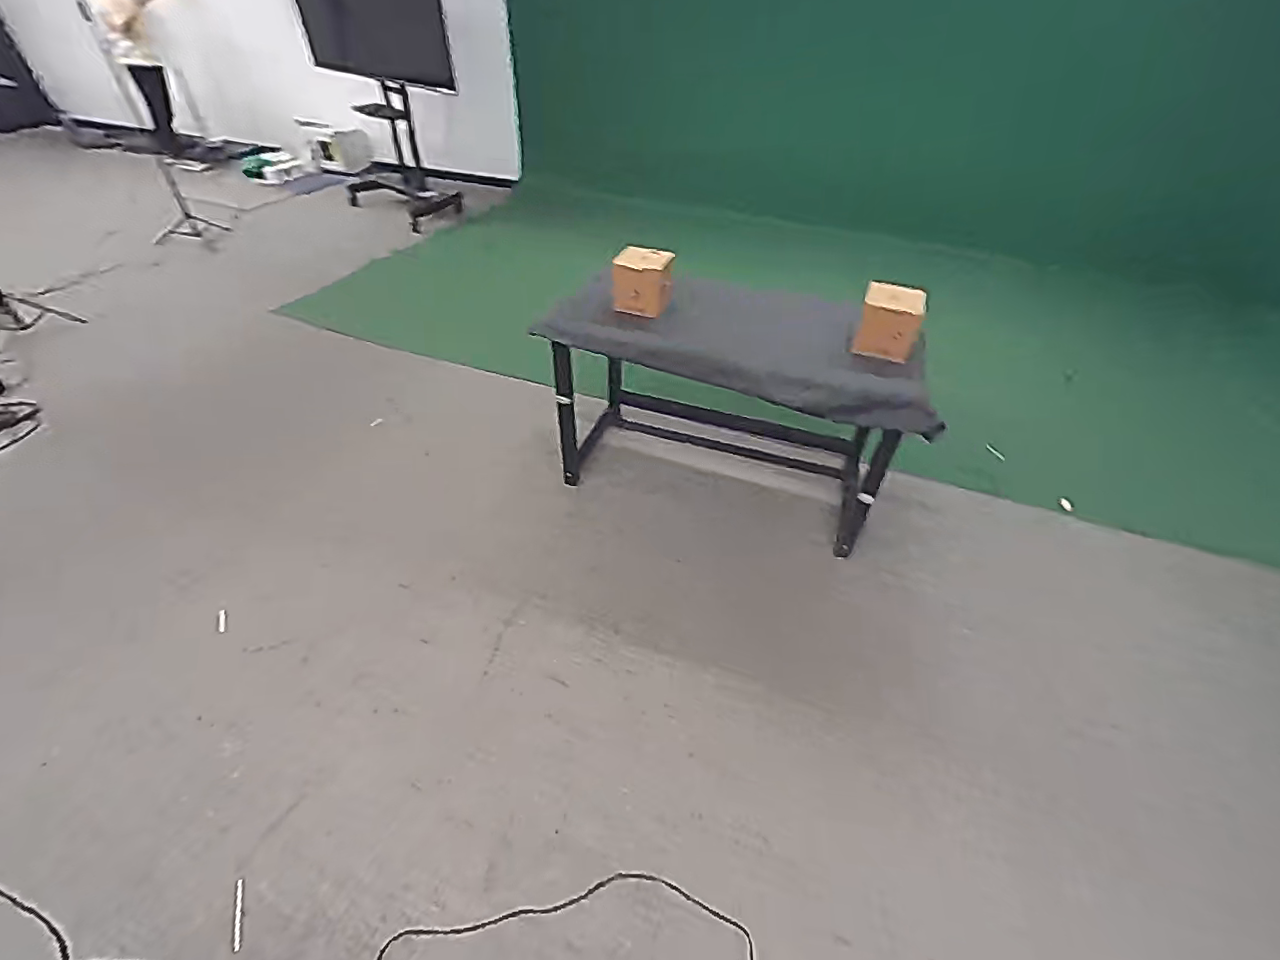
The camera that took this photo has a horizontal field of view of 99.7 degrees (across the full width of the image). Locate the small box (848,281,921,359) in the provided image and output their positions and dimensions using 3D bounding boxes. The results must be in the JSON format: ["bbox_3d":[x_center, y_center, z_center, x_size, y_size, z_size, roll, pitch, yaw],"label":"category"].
[{"bbox_3d":[0.770,-0.506,1.713,0.168,0.176,0.179,17,44,14],"label":"small box"}]

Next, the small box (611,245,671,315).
[{"bbox_3d":[0.004,-0.697,1.885,0.168,0.176,0.179,14,45,11],"label":"small box"}]
